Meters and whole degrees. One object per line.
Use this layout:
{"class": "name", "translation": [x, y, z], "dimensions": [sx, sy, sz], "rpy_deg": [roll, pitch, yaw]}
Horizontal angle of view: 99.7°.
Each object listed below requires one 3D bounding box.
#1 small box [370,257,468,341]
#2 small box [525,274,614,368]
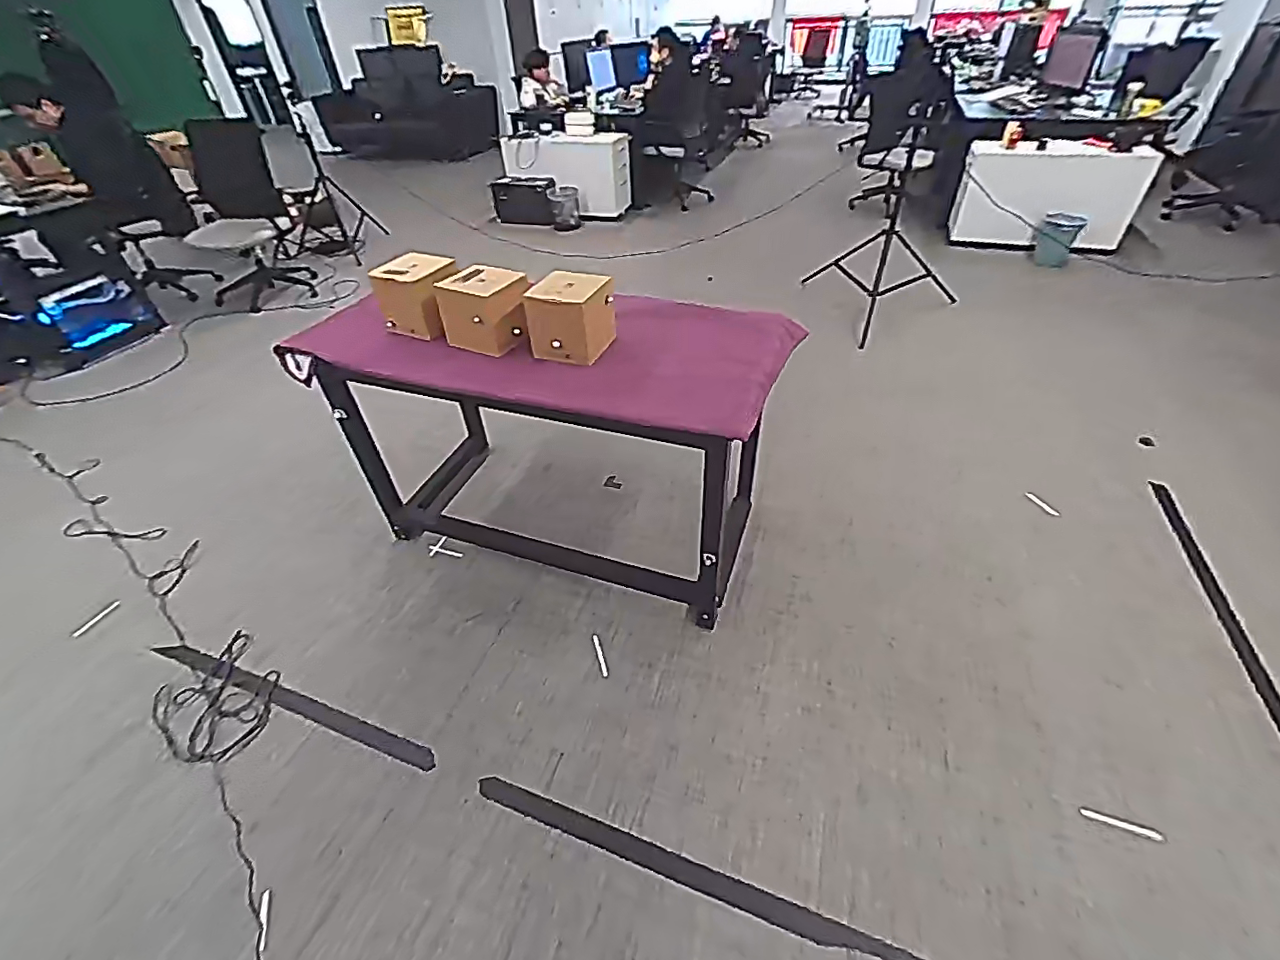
{"class": "small box", "translation": [-0.619, -0.514, 1.540], "dimensions": [0.168, 0.176, 0.179], "rpy_deg": [16, 45, 20]}
{"class": "small box", "translation": [-0.173, -0.413, 1.399], "dimensions": [0.168, 0.176, 0.179], "rpy_deg": [12, 43, 18]}
